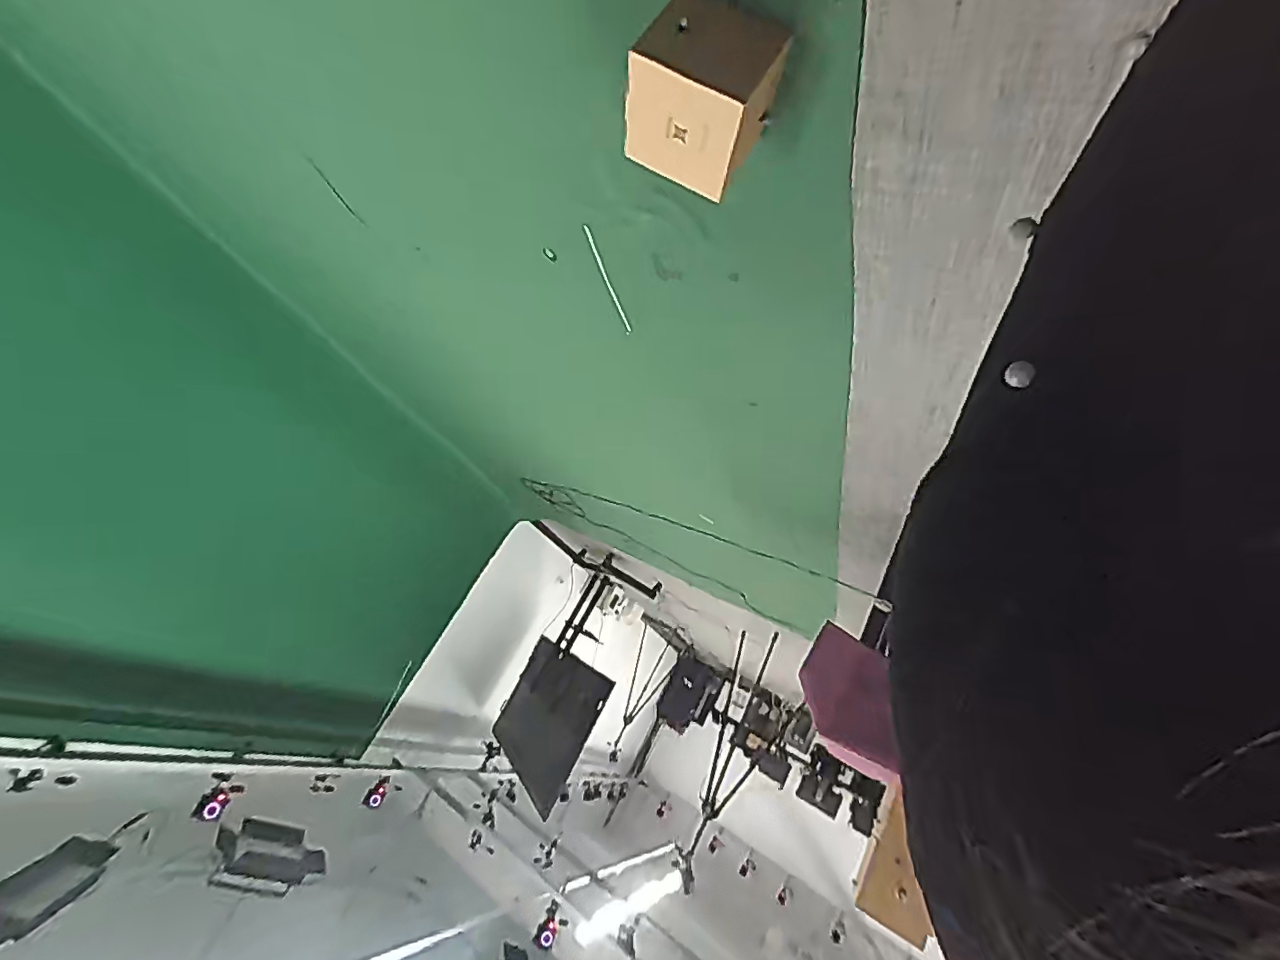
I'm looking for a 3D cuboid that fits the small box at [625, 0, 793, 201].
[{"bbox_3d":[0.098,-0.574,0.814,0.179,0.176,0.168,29,162,4],"label":"small box"}]

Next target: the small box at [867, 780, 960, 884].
[{"bbox_3d":[0.728,0.929,1.446,0.168,0.176,0.179,22,159,25],"label":"small box"}]

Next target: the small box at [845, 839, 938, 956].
[{"bbox_3d":[0.647,1.063,1.395,0.168,0.176,0.179,22,160,27],"label":"small box"}]
